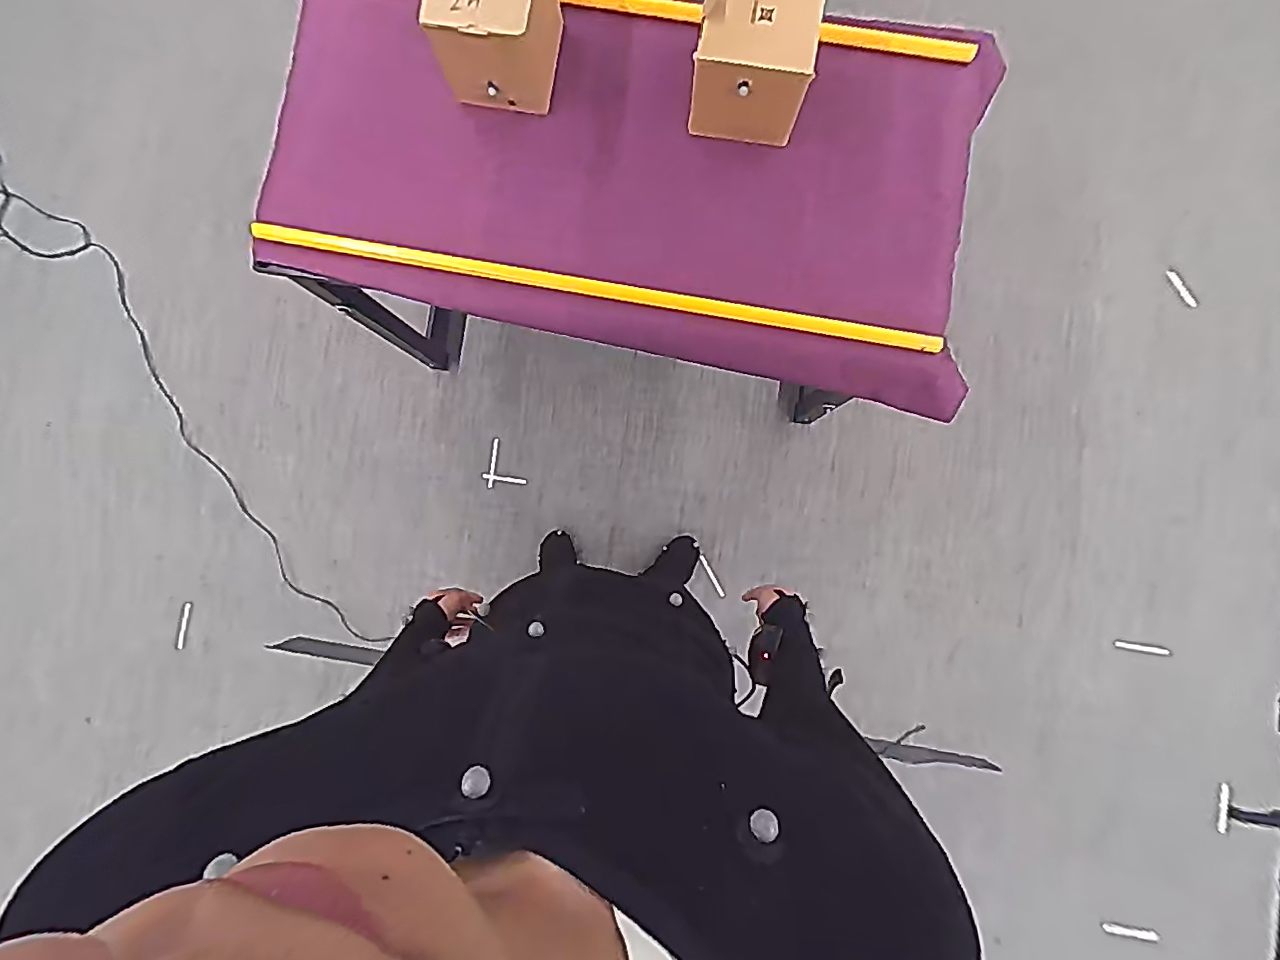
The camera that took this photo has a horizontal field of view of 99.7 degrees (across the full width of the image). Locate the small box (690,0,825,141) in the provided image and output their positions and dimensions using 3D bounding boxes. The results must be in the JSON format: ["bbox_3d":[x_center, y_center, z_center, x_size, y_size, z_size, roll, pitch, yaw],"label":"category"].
[{"bbox_3d":[0.183,-0.686,0.875,0.179,0.176,0.168,10,88,3],"label":"small box"}]

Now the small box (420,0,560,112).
[{"bbox_3d":[-0.234,-0.757,0.889,0.168,0.176,0.179,10,89,2],"label":"small box"}]
